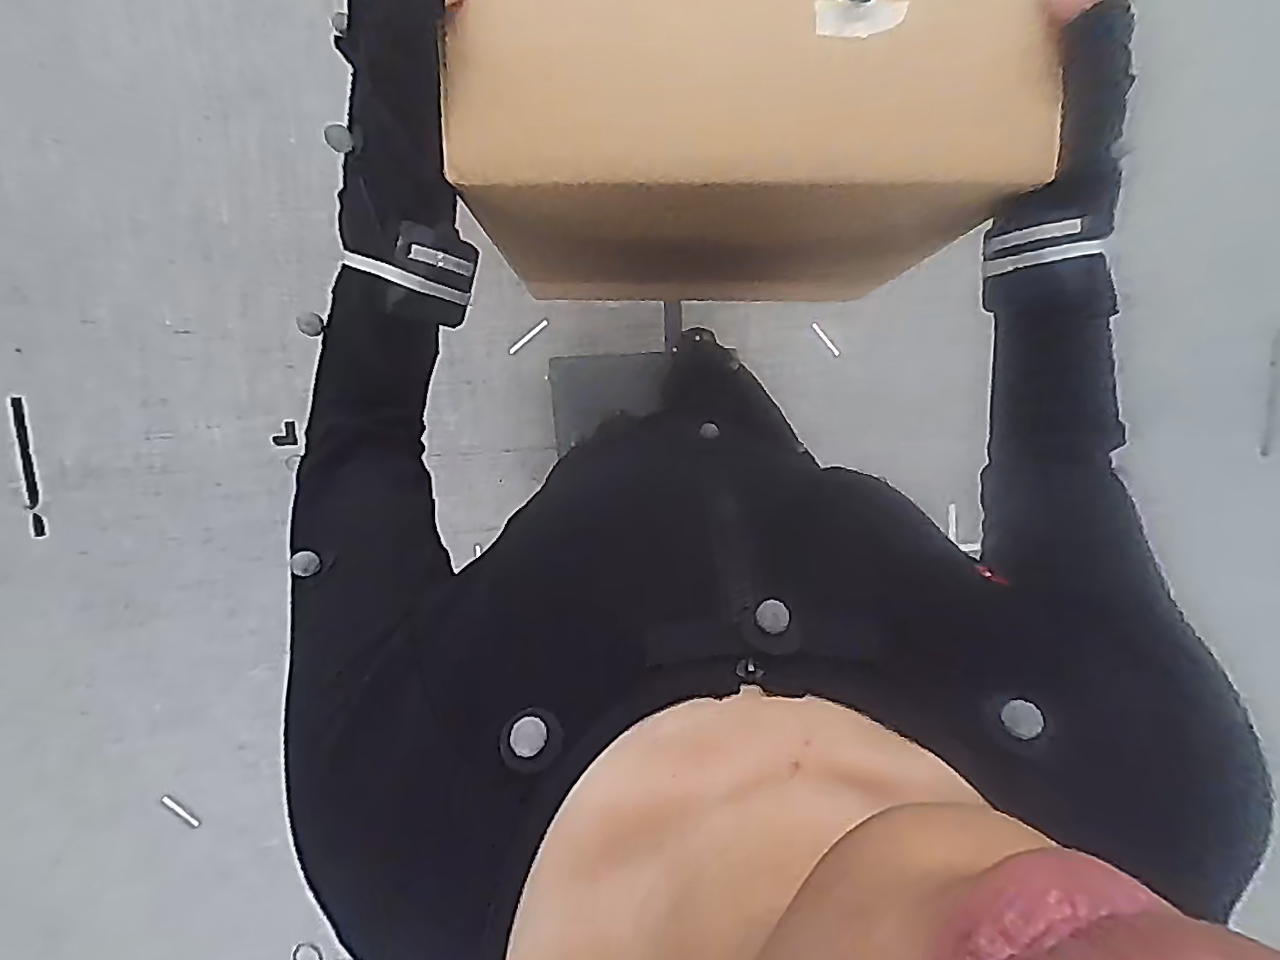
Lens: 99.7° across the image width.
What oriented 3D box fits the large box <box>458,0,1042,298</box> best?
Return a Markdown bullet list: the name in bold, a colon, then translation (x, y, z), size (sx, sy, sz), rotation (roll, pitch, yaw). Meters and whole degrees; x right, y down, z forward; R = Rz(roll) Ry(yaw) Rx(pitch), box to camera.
- **large box**: translation (0.070, -0.372, 0.512), size (0.408, 0.320, 0.320), rotation (-1, 95, -1)
